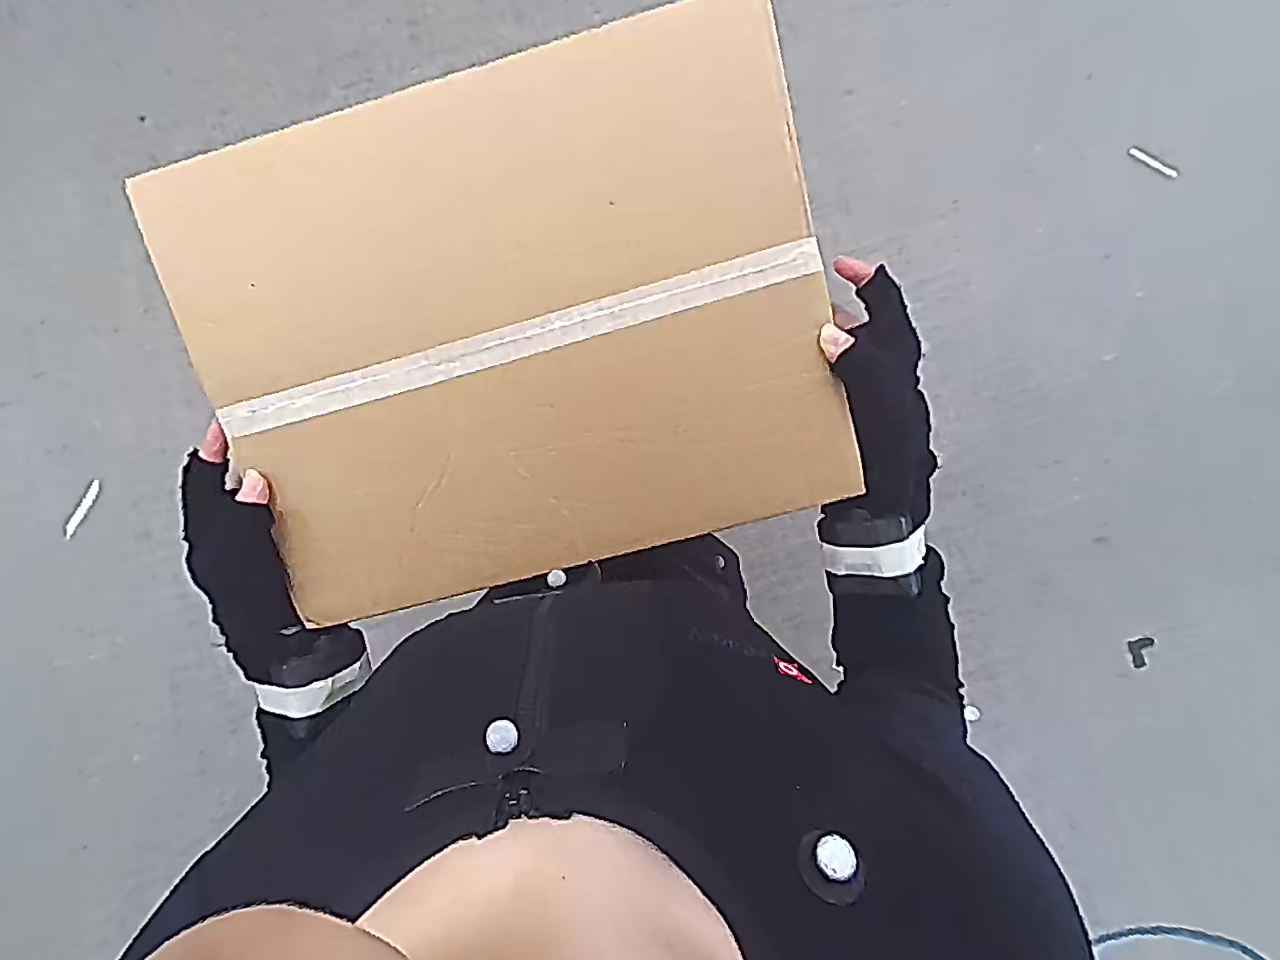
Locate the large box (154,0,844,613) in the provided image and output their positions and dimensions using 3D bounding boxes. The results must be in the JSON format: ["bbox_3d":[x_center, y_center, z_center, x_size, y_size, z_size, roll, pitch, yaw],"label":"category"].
[{"bbox_3d":[-0.082,-0.124,0.507,0.408,0.320,0.320,-14,100,4],"label":"large box"}]
